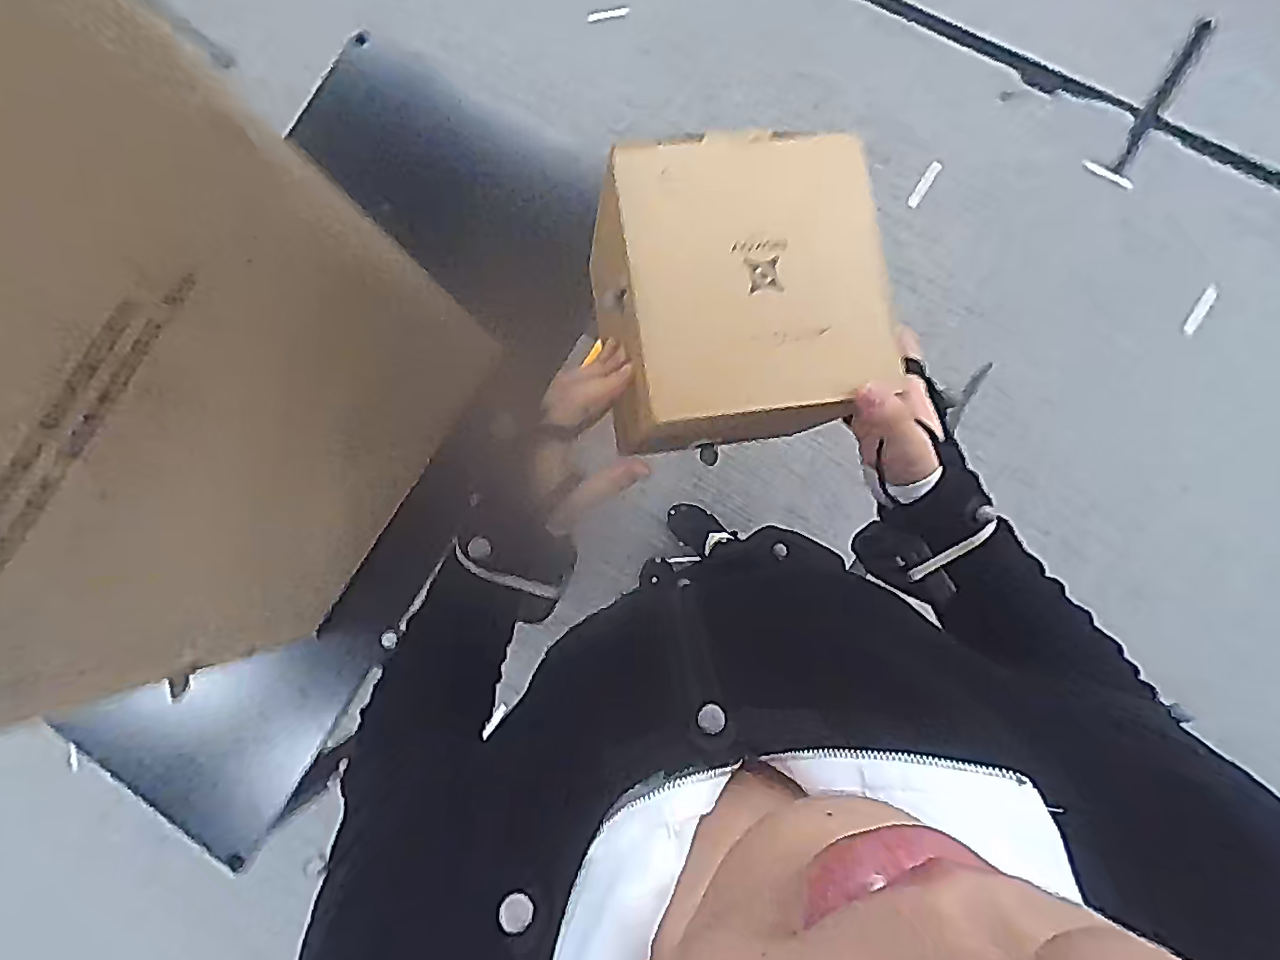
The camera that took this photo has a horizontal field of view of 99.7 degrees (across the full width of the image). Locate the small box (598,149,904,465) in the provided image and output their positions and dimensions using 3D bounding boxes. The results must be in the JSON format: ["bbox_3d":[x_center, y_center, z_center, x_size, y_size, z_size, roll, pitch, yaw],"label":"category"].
[{"bbox_3d":[0.063,-0.114,0.411,0.168,0.176,0.179,-7,87,-9],"label":"small box"}]
